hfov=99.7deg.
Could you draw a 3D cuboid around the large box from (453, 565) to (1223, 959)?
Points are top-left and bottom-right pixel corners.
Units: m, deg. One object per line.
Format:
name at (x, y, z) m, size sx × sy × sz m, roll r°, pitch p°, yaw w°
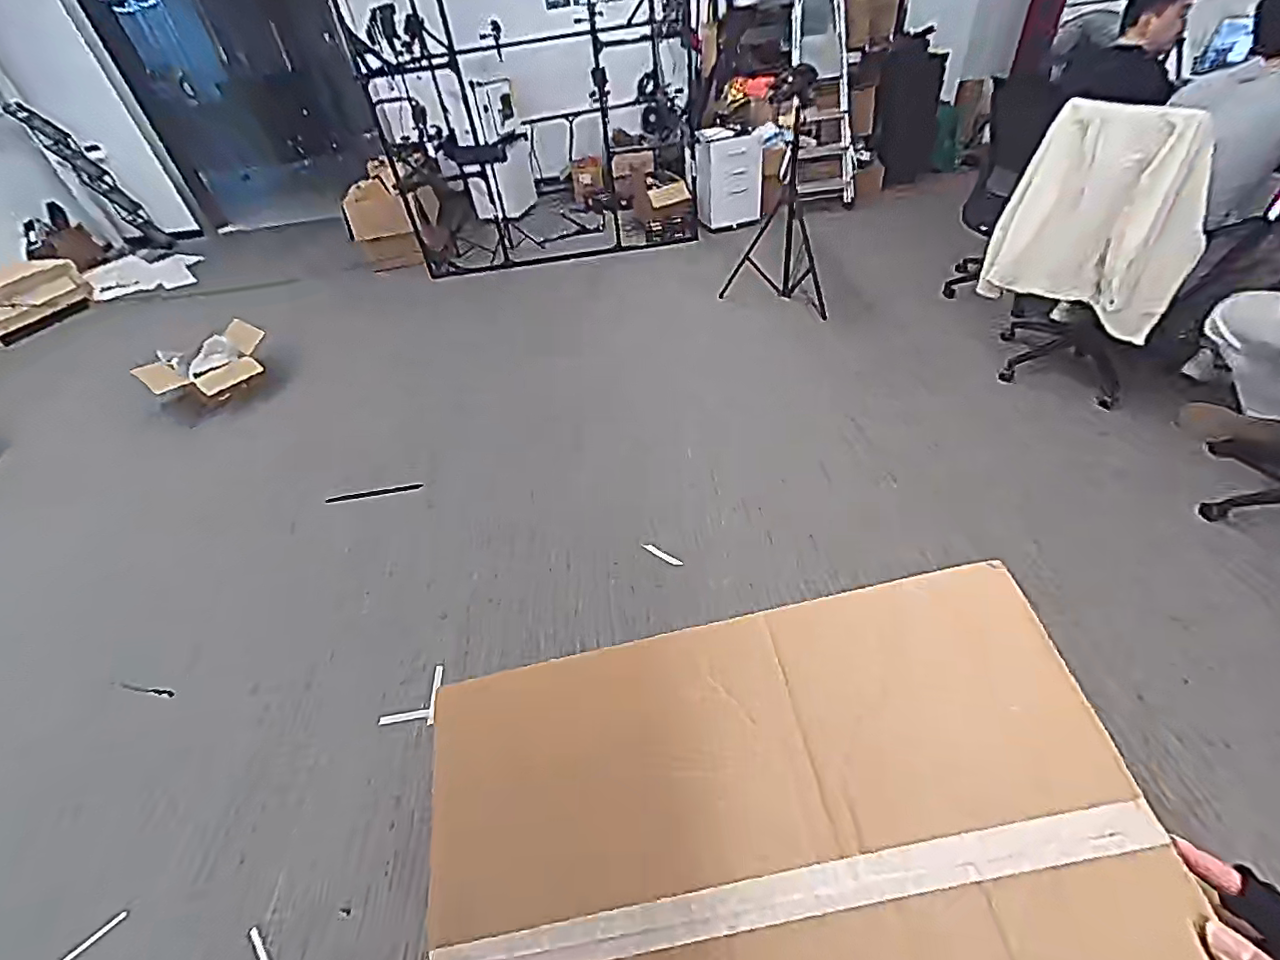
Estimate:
large box at (0.107, 0.310, 0.431) m, size 0.408 × 0.320 × 0.320 m, roll -14°, pitch 58°, yaw 3°
